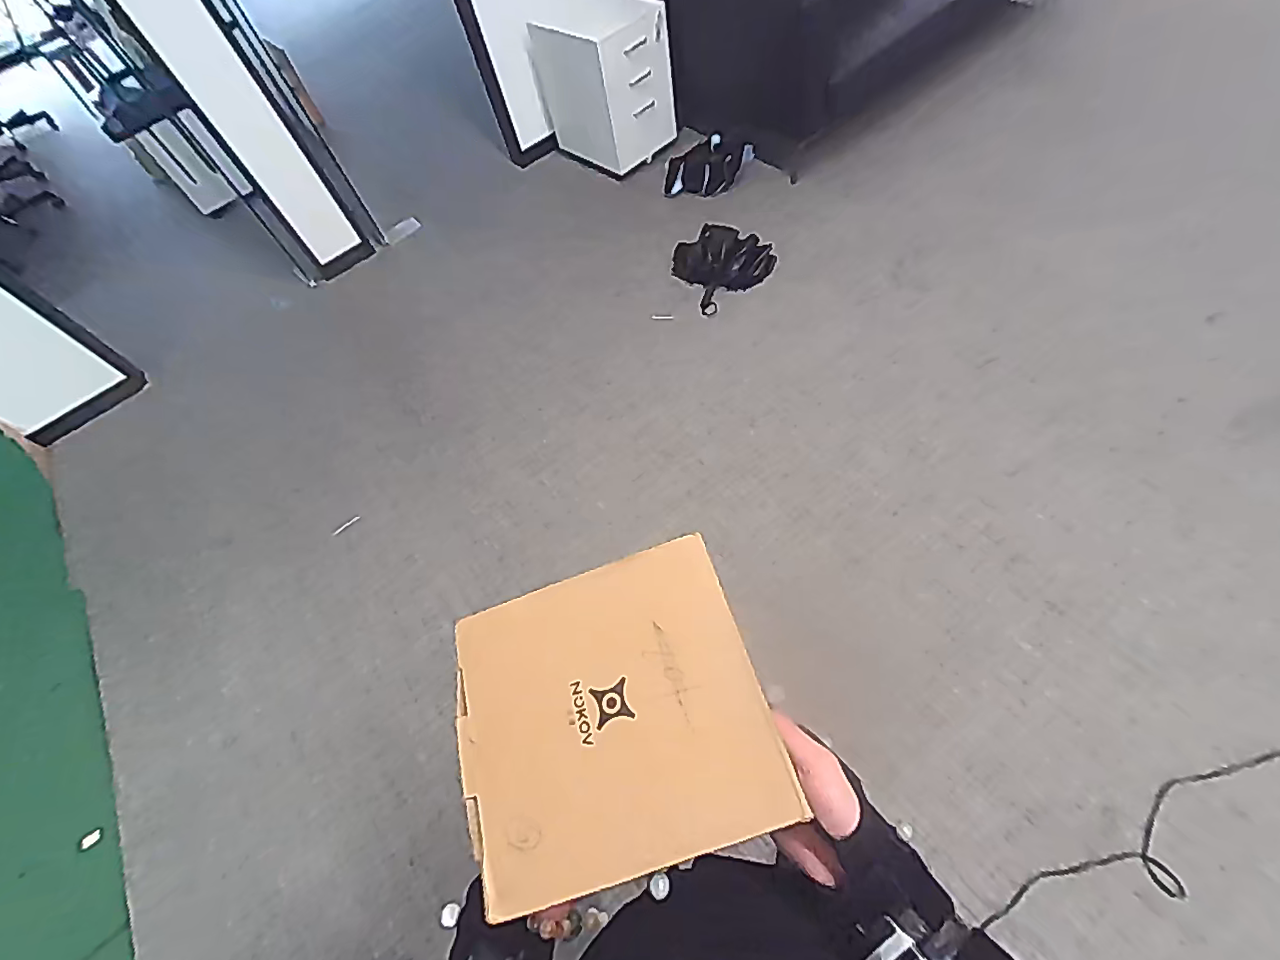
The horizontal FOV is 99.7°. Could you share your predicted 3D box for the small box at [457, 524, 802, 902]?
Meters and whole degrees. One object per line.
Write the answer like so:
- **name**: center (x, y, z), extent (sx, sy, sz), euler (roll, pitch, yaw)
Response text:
- **small box**: center (-0.002, 0.161, 0.383), extent (0.179, 0.176, 0.168), euler (-21, 60, 2)
